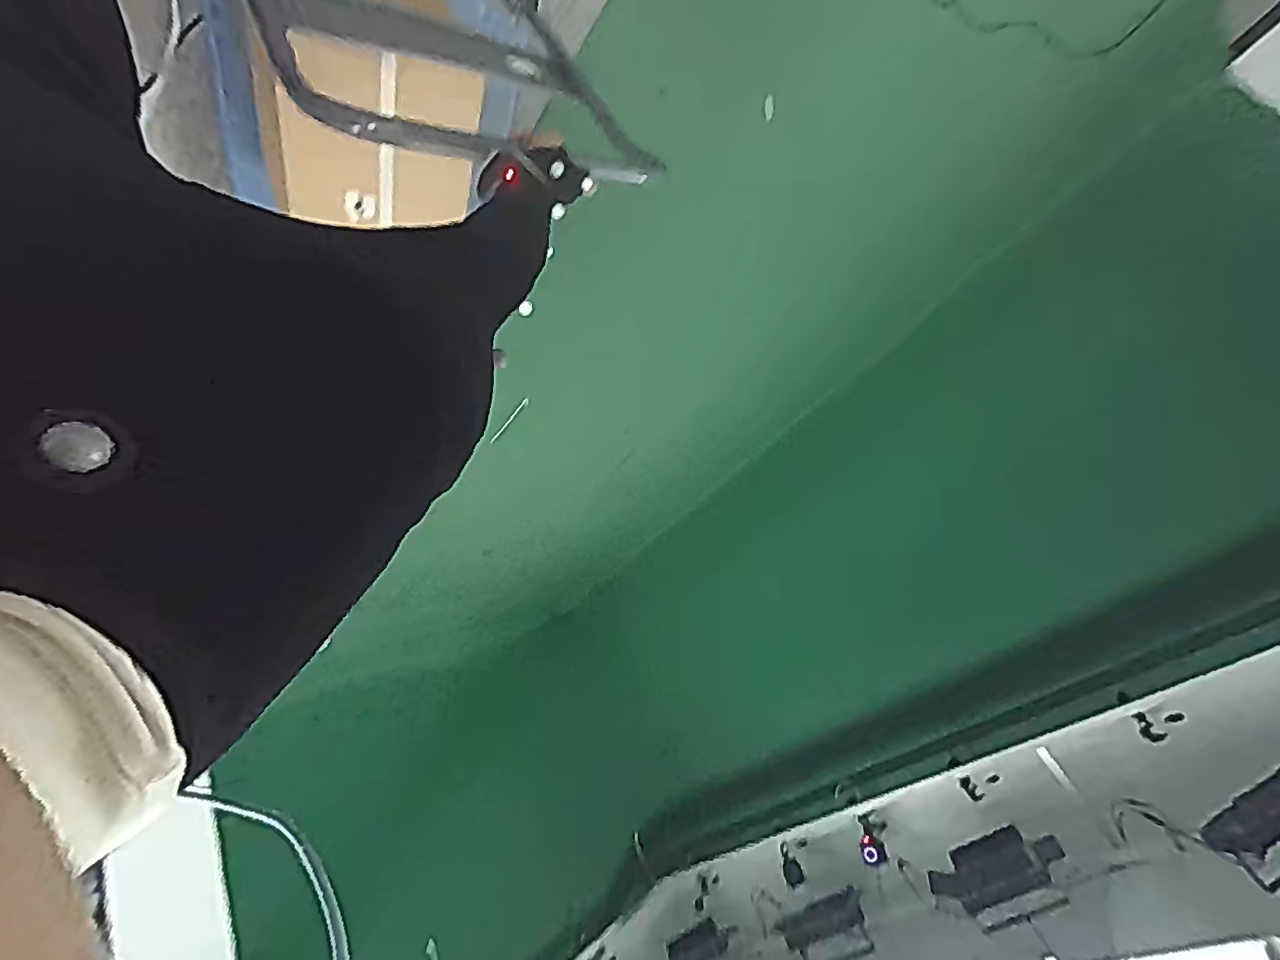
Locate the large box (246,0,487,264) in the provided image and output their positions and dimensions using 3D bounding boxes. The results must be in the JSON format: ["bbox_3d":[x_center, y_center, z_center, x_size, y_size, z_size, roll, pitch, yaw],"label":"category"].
[{"bbox_3d":[-0.517,-0.681,1.026,0.320,0.320,0.408,-13,153,-33],"label":"large box"}]
